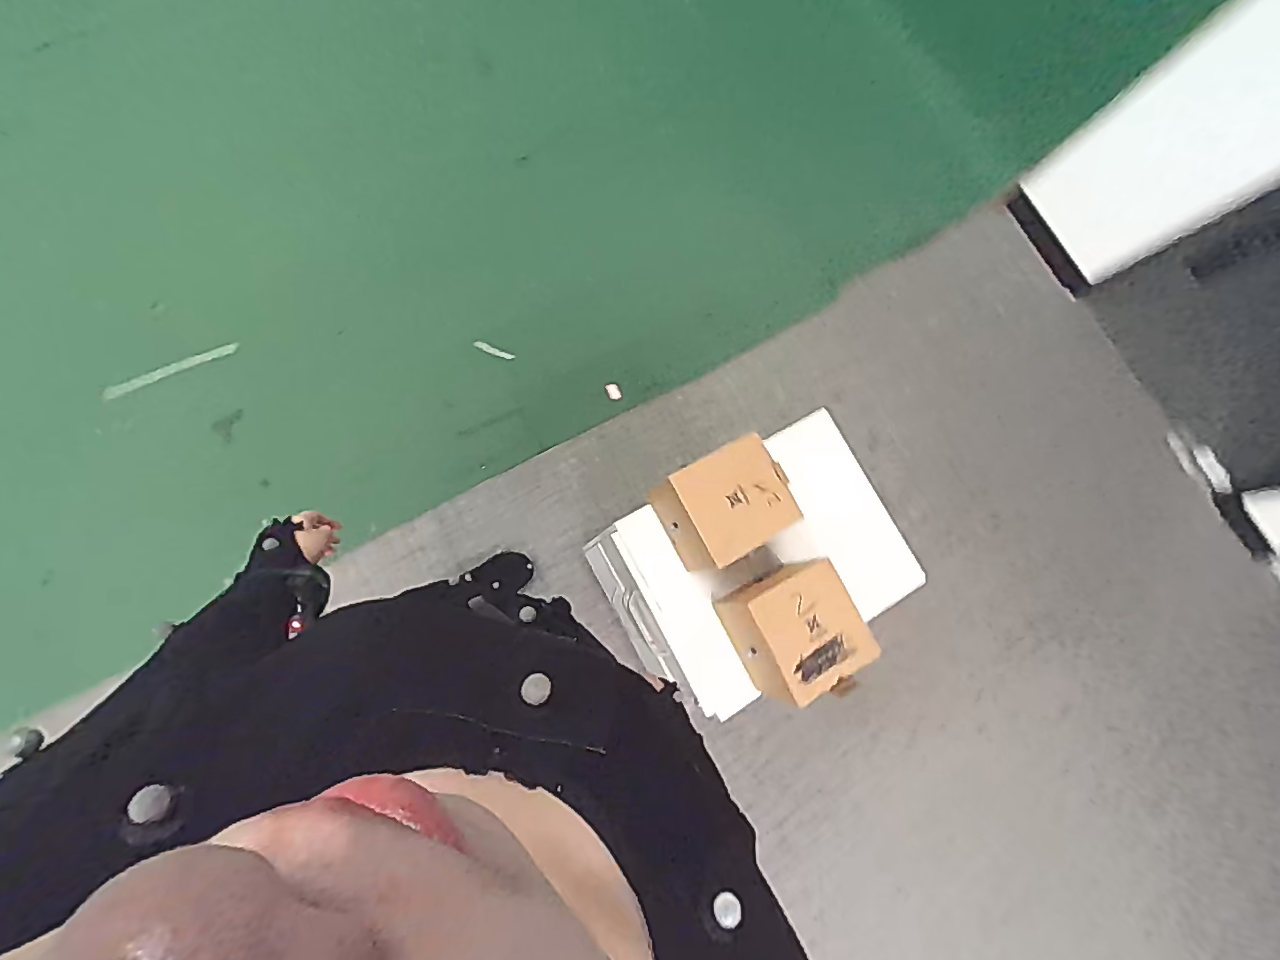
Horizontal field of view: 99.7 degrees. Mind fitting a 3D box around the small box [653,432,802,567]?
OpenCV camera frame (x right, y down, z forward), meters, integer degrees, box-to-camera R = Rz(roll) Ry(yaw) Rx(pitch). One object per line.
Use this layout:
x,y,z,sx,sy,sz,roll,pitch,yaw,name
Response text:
0.136,0.042,0.931,0.179,0.176,0.168,-26,87,-16,small box
